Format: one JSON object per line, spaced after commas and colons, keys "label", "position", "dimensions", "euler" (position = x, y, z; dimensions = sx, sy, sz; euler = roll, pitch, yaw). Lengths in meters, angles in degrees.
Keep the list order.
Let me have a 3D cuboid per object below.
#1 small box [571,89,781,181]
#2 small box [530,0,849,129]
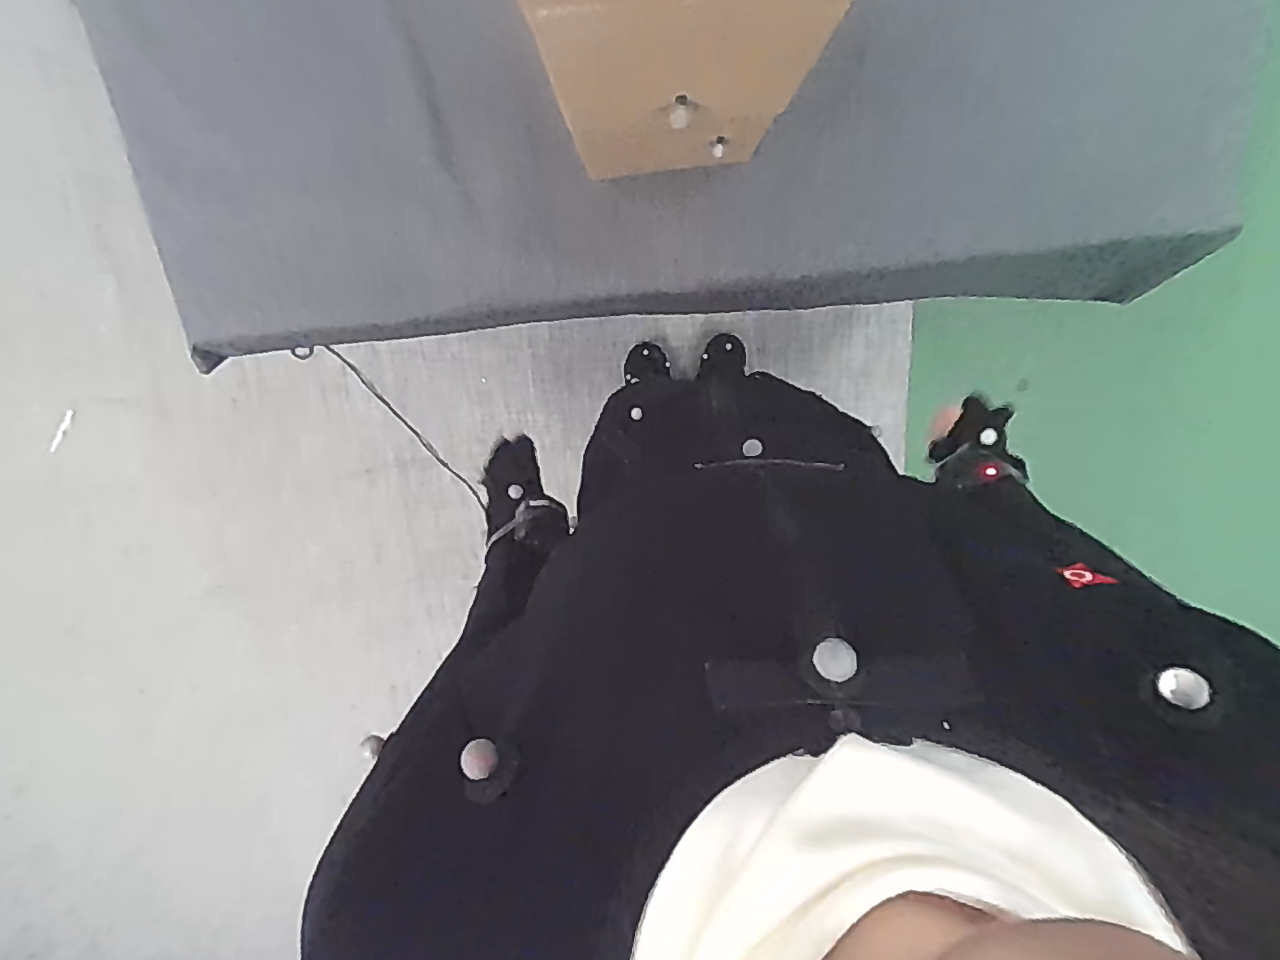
{"label": "small box", "position": [0.021, -0.396, 0.500], "dimensions": [0.179, 0.176, 0.168], "euler": [-6, 105, 4]}
{"label": "small box", "position": [0.021, -0.349, 0.344], "dimensions": [0.179, 0.176, 0.168], "euler": [-5, 105, 1]}
